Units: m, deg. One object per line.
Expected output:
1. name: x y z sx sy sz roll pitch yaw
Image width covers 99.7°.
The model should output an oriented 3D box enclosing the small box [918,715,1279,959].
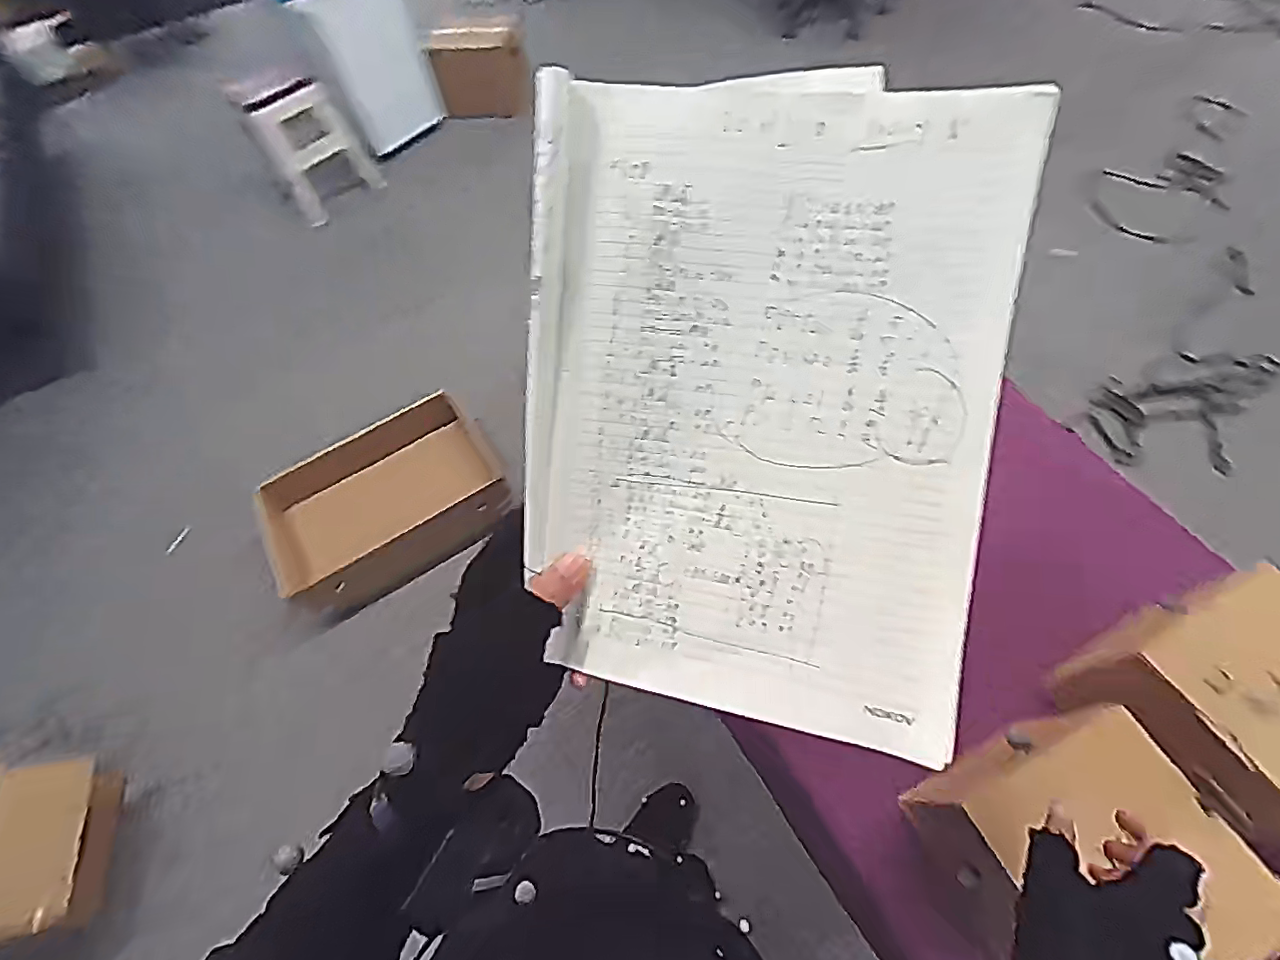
1. small box: 0.382 0.338 0.483 0.179 0.176 0.168 -24 60 -8

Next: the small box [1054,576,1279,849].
1. small box: 0.570 0.225 0.529 0.179 0.176 0.168 -27 61 -9
